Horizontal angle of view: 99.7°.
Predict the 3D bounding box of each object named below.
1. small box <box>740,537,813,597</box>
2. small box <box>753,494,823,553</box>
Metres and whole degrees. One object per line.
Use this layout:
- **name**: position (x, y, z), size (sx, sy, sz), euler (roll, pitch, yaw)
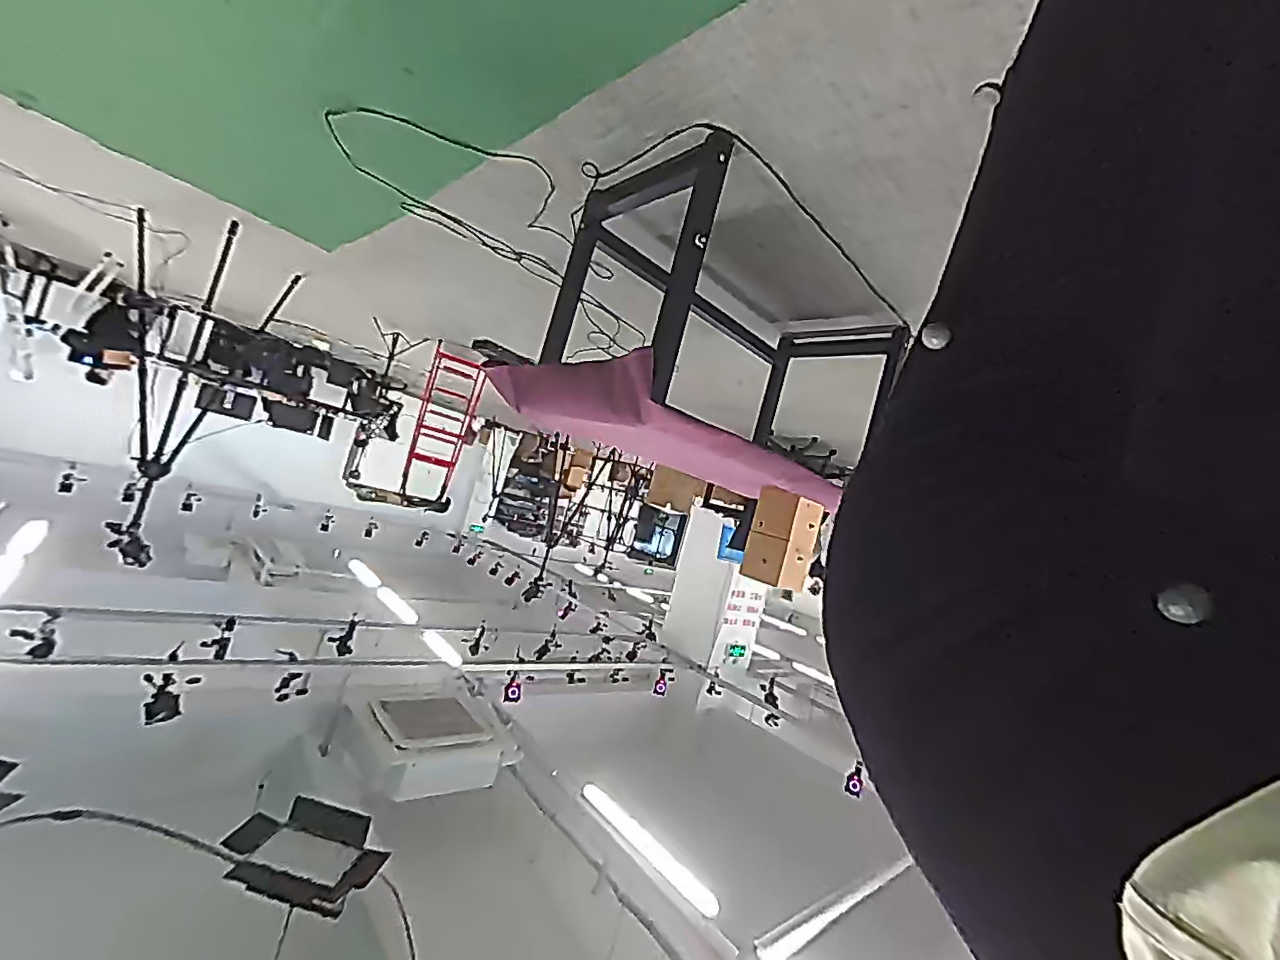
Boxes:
- **small box**: position (0.498, 0.311, 1.960), size (0.168, 0.176, 0.179), euler (18, 176, -41)
- **small box**: position (0.546, 0.154, 1.967), size (0.168, 0.176, 0.179), euler (19, 176, -40)
